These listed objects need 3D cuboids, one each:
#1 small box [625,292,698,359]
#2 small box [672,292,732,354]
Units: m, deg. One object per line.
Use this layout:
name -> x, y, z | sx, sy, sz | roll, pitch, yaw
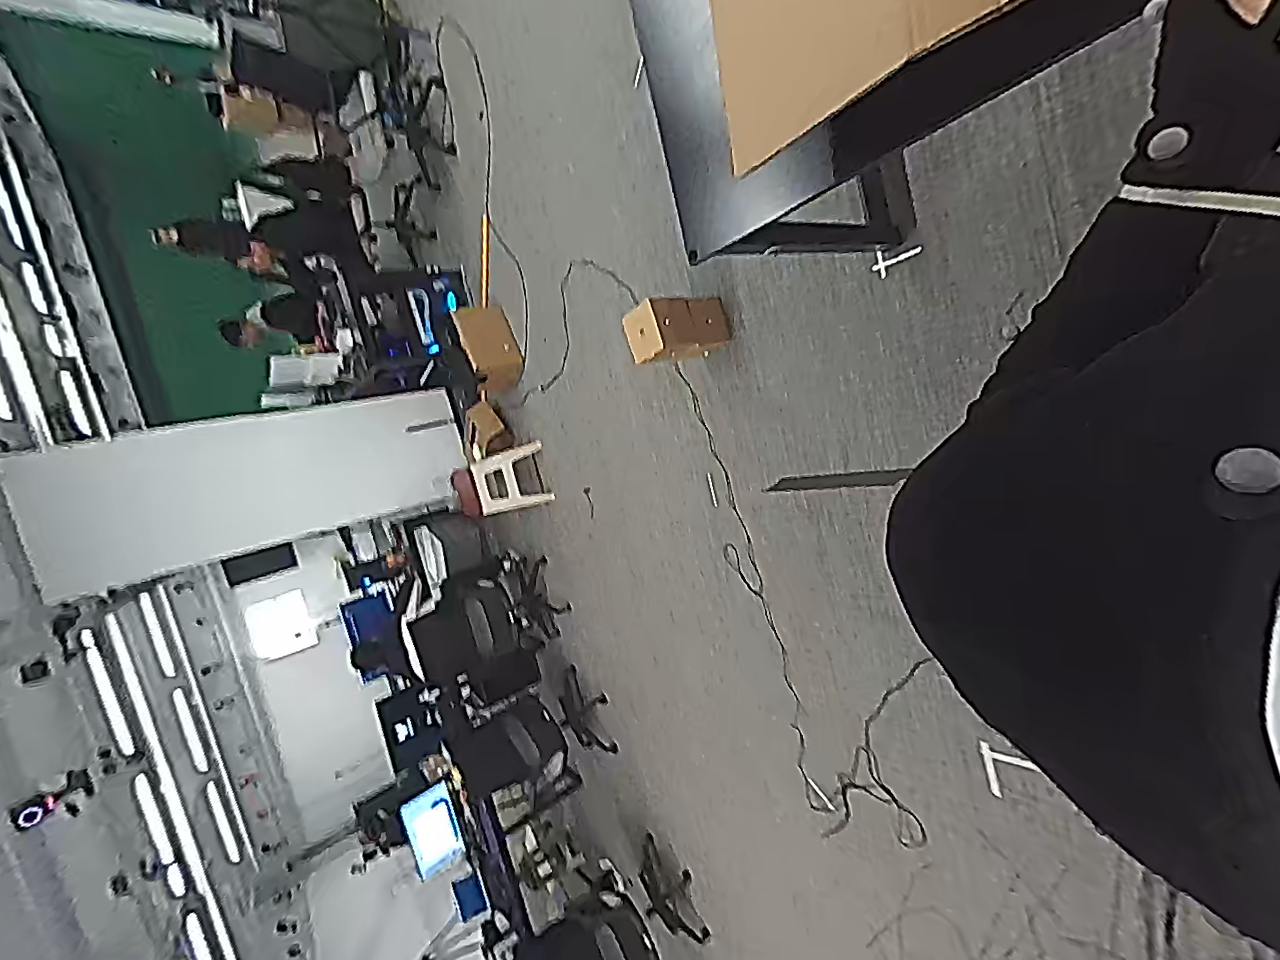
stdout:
small box -> 0.078, -0.538, 1.874 | 0.168, 0.176, 0.179 | -17, 89, 54
small box -> 0.206, -0.573, 1.967 | 0.168, 0.176, 0.179 | -12, 96, 55
